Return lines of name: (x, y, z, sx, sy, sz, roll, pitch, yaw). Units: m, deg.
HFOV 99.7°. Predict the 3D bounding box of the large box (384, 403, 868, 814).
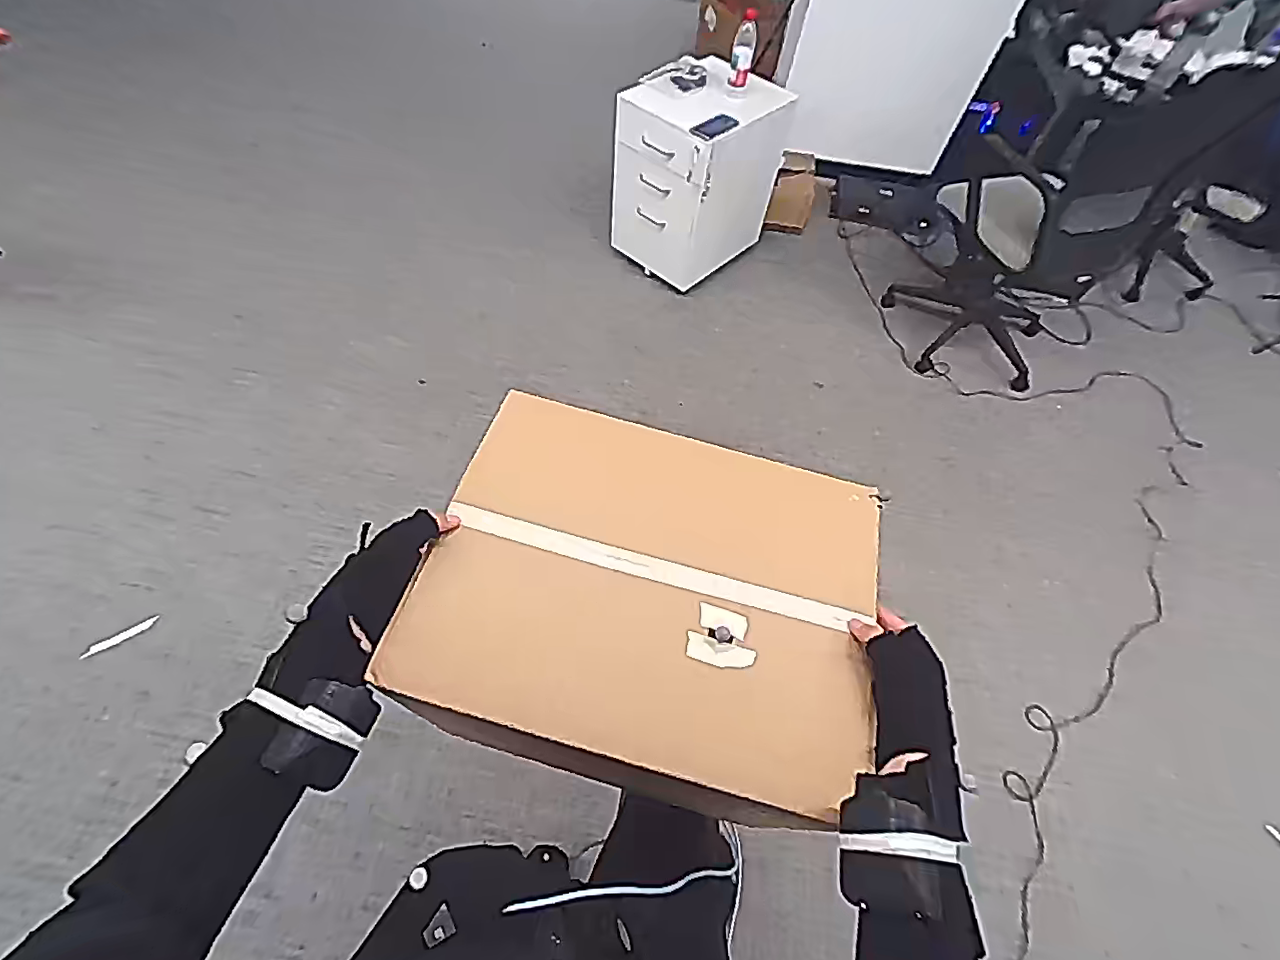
large box: (-0.001, 0.164, 0.631, 0.408, 0.320, 0.320, 16, 59, 2)
